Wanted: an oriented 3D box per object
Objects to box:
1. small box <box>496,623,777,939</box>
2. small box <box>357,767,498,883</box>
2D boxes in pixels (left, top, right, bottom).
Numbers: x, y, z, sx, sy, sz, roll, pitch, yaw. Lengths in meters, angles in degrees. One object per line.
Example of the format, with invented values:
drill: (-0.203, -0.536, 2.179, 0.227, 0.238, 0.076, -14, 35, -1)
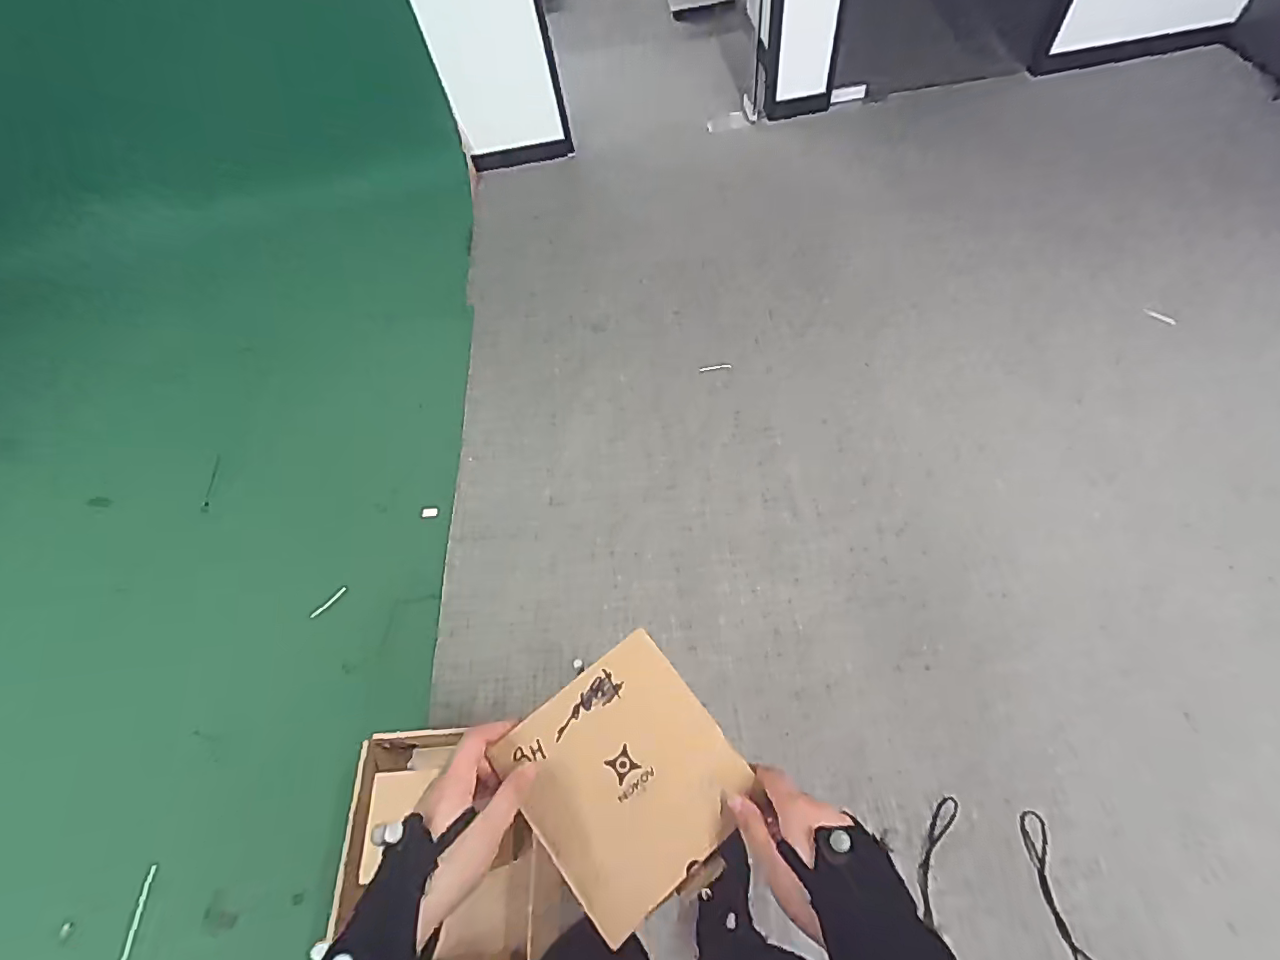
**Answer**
small box: (-0.007, 0.256, 0.513, 0.168, 0.176, 0.179, -36, 78, -14)
small box: (-0.378, 0.627, 0.993, 0.179, 0.176, 0.168, -6, 61, 3)
